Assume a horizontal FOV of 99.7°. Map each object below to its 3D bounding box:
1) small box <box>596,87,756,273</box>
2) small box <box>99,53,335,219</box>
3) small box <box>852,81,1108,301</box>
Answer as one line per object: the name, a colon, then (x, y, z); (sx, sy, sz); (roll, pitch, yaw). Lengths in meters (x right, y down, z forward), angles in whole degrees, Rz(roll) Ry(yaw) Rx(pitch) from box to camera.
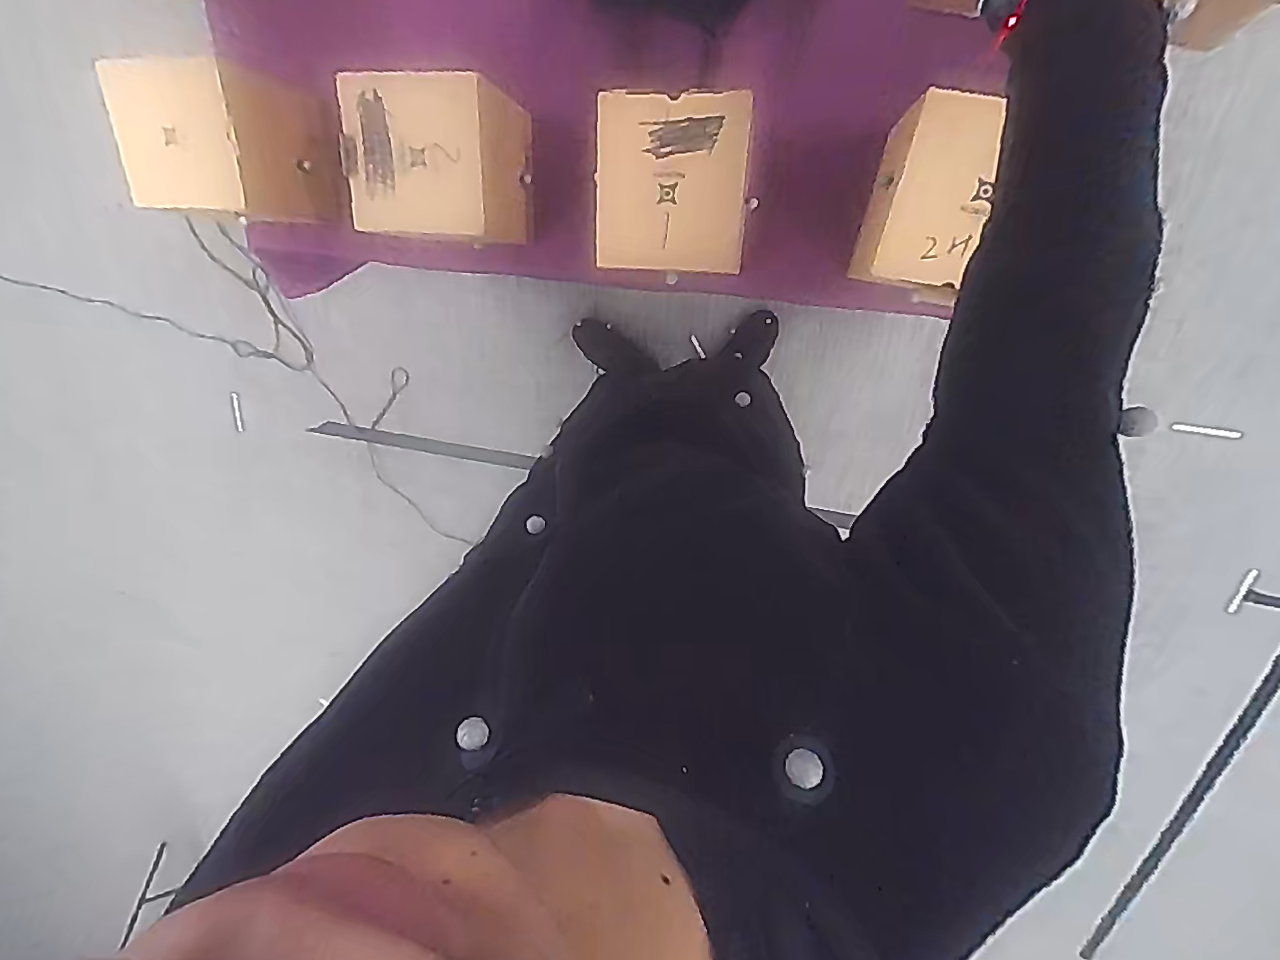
small box: (0.048, -0.352, 0.662); (0.168, 0.176, 0.179); (7, 113, 10)
small box: (-0.565, -0.460, 0.748); (0.179, 0.176, 0.168); (5, 111, 8)
small box: (0.355, -0.311, 0.612); (0.168, 0.176, 0.179); (14, 113, 7)
